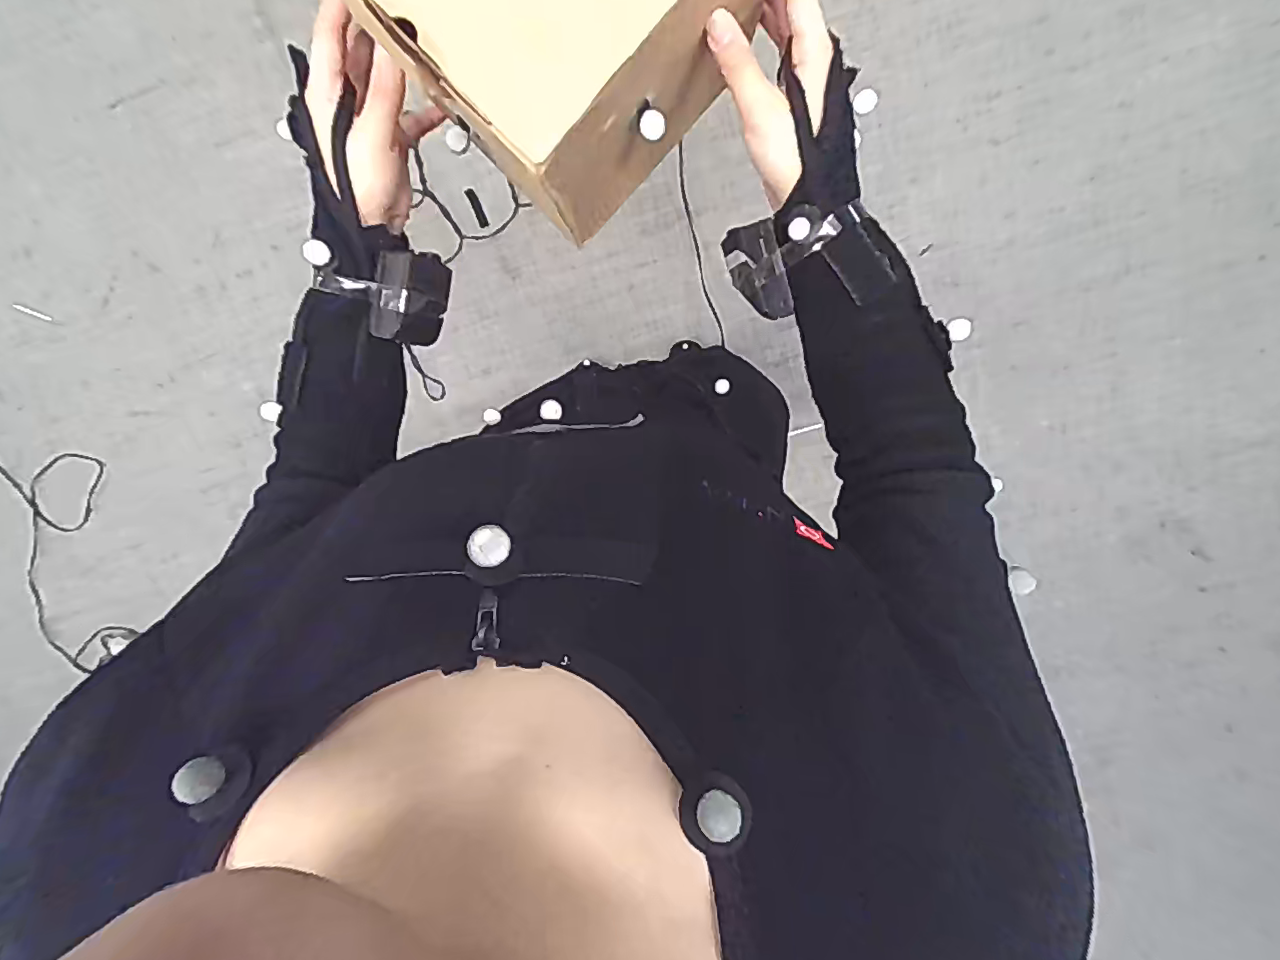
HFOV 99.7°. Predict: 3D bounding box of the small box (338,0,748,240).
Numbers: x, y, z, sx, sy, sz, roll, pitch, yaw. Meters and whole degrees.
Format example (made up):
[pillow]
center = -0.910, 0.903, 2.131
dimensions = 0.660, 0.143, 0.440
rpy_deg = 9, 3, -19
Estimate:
[small box]
center = -0.046, -0.275, 0.318
dimensions = 0.168, 0.176, 0.179
rpy_deg = 43, 100, -7
